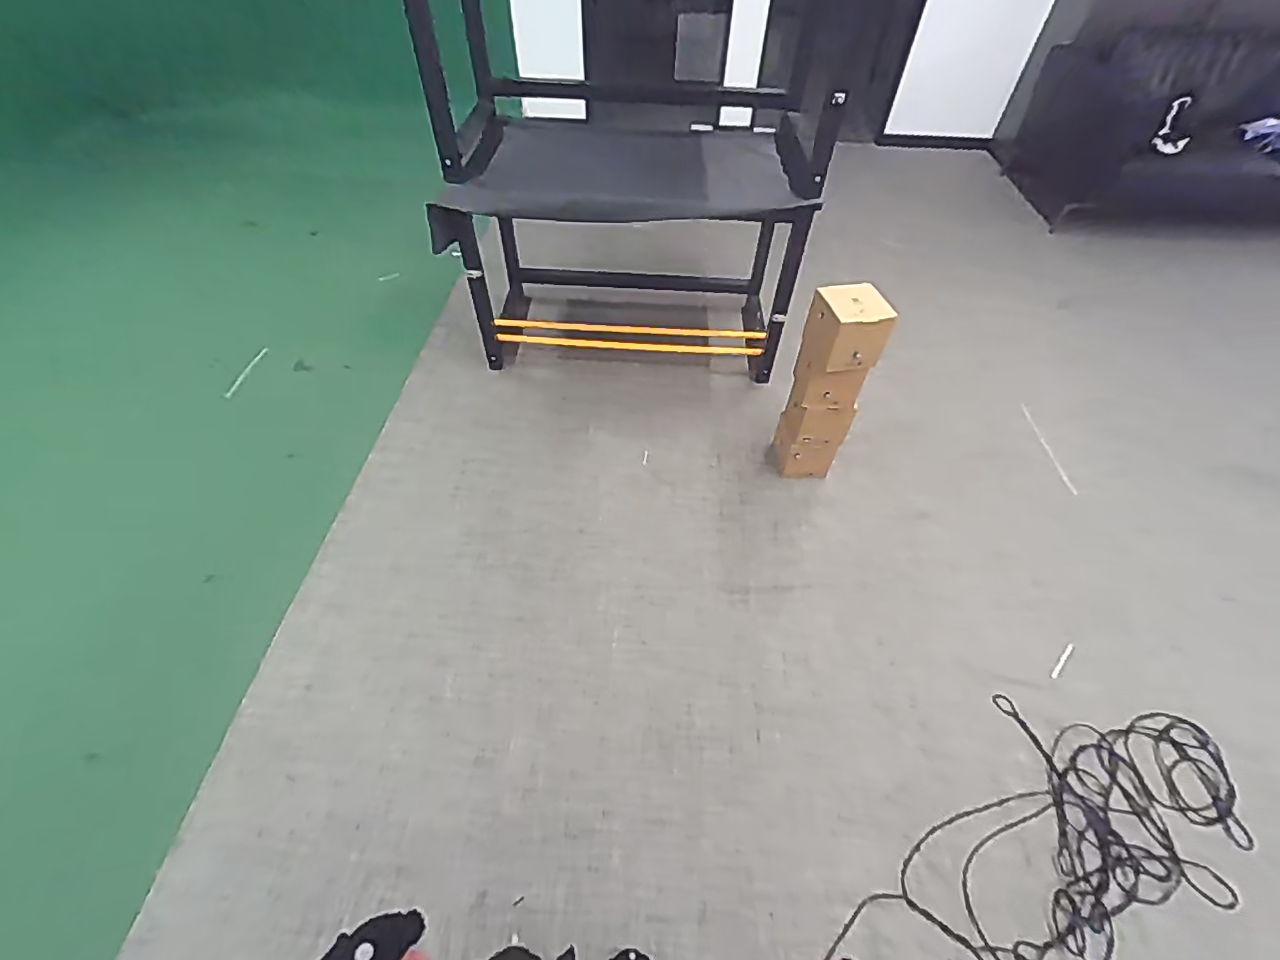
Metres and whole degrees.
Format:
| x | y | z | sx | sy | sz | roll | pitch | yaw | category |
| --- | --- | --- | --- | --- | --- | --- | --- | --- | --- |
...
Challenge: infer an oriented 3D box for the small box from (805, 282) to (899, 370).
| x | y | z | sx | sy | sz | roll | pitch | yaw | category |
| --- | --- | --- | --- | --- | --- | --- | --- | --- | --- |
| 0.590 | -0.436 | 1.532 | 0.168 | 0.176 | 0.179 | -8 | 52 | -7 | small box |

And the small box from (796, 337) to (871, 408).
| x | y | z | sx | sy | sz | roll | pitch | yaw | category |
| --- | --- | --- | --- | --- | --- | --- | --- | --- | --- |
| 0.589 | -0.346 | 1.669 | 0.168 | 0.176 | 0.179 | 2 | 50 | 1 | small box |

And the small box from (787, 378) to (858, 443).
| x | y | z | sx | sy | sz | roll | pitch | yaw | category |
| --- | --- | --- | --- | --- | --- | --- | --- | --- | --- |
| 0.598 | -0.237 | 1.790 | 0.168 | 0.176 | 0.179 | 1 | 49 | -1 | small box |
